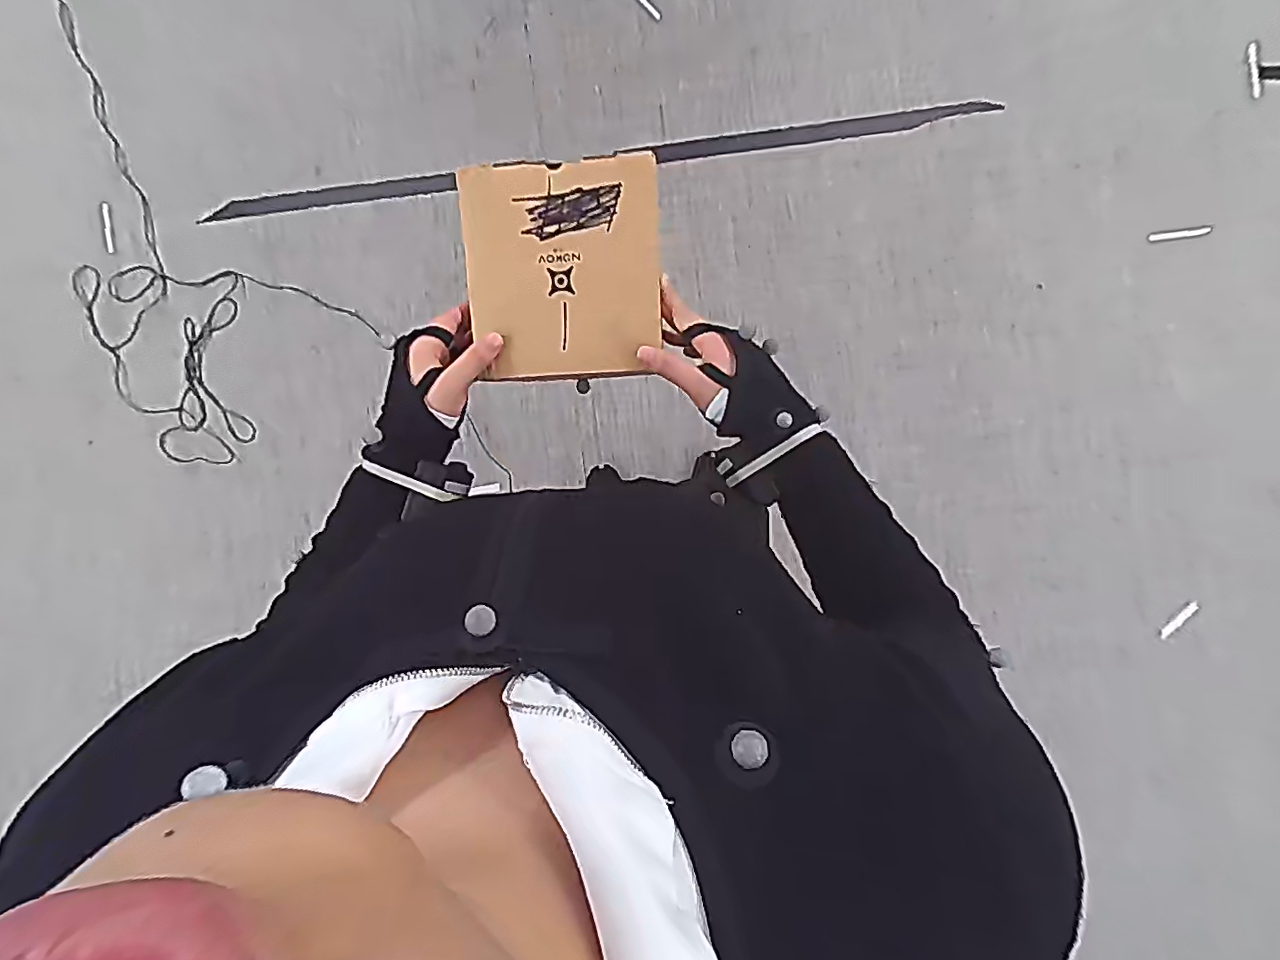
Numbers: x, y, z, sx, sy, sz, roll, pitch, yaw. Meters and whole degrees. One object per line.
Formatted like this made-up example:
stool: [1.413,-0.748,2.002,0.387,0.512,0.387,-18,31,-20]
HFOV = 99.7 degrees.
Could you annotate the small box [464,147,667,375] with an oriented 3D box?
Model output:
small box: [-0.059,-0.198,0.537,0.168,0.176,0.179,-2,100,3]
